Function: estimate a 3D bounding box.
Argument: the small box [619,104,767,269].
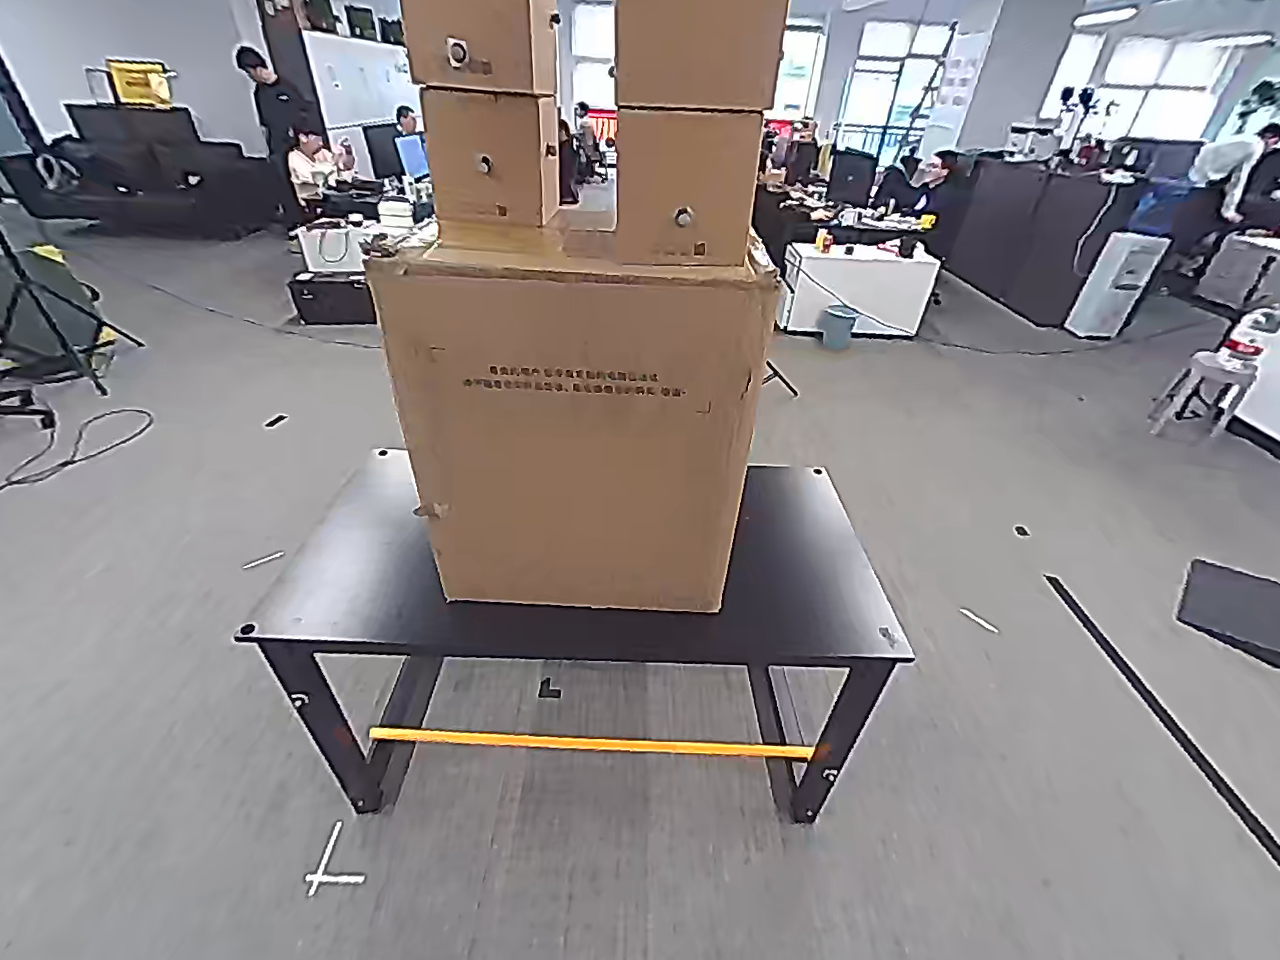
[{"bbox_3d":[0.056,-0.388,0.708,0.168,0.176,0.179,0,37,-2],"label":"small box"}]

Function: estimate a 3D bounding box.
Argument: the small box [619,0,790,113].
[{"bbox_3d":[0.066,-0.513,0.601,0.179,0.176,0.168,2,37,-1],"label":"small box"}]

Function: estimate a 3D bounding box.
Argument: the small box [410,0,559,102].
[{"bbox_3d":[-0.204,-0.623,0.733,0.168,0.176,0.179,4,36,1],"label":"small box"}]

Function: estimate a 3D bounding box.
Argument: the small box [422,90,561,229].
[{"bbox_3d":[-0.216,-0.500,0.842,0.168,0.176,0.179,4,36,-2],"label":"small box"}]
